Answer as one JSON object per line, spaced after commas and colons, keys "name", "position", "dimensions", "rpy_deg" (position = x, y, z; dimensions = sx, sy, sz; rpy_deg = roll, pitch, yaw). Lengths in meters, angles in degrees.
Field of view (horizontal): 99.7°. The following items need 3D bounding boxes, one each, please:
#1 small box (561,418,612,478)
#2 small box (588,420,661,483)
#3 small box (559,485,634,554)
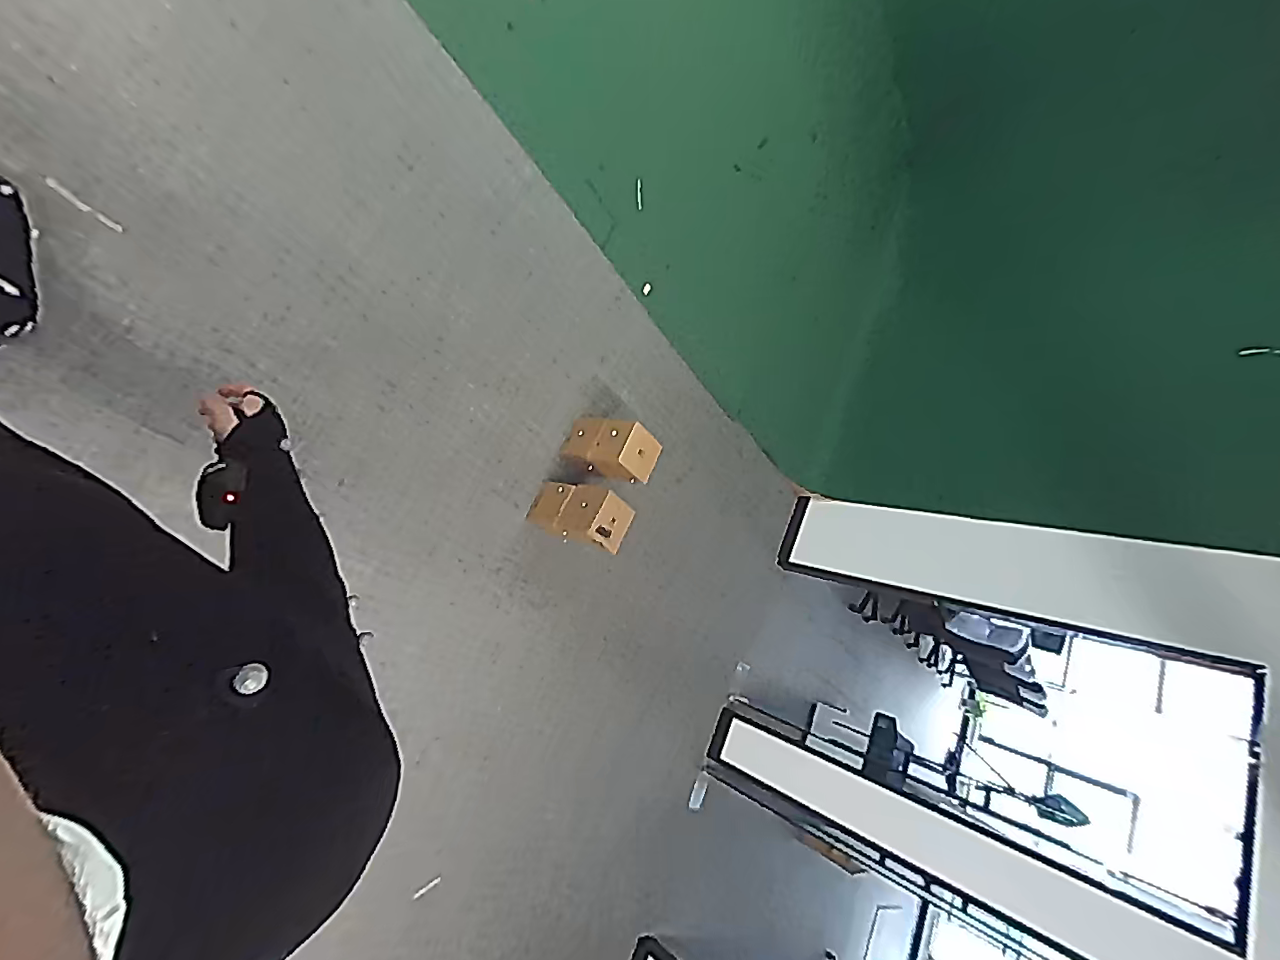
{"name": "small box", "position": [-0.175, -0.124, 2.091], "dimensions": [0.179, 0.176, 0.168], "rpy_deg": [44, 66, -41]}
{"name": "small box", "position": [-0.058, -0.105, 1.979], "dimensions": [0.179, 0.176, 0.168], "rpy_deg": [42, 66, -42]}
{"name": "small box", "position": [-0.160, 0.135, 1.905], "dimensions": [0.168, 0.176, 0.179], "rpy_deg": [46, 63, -41]}
